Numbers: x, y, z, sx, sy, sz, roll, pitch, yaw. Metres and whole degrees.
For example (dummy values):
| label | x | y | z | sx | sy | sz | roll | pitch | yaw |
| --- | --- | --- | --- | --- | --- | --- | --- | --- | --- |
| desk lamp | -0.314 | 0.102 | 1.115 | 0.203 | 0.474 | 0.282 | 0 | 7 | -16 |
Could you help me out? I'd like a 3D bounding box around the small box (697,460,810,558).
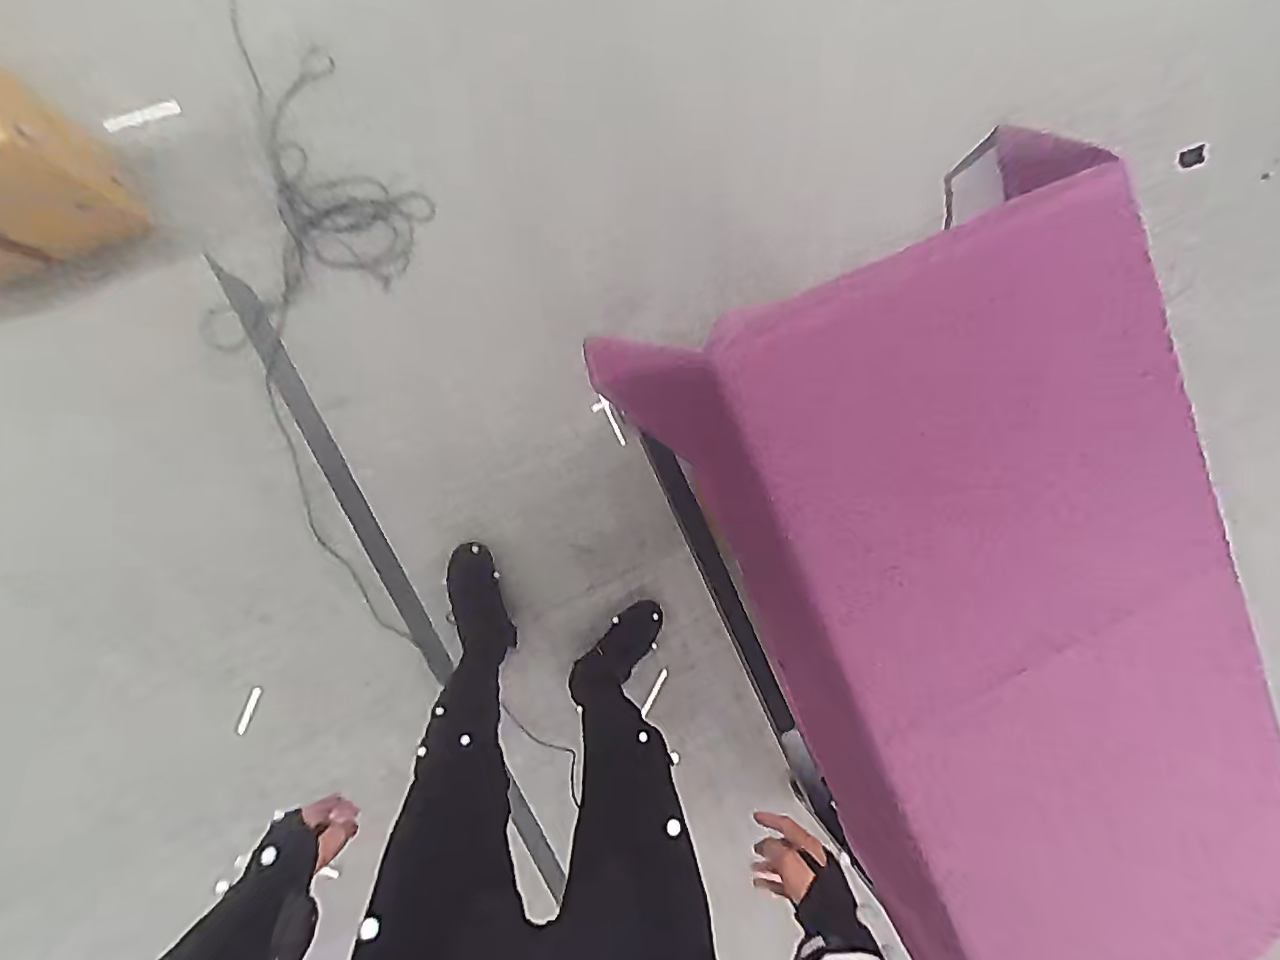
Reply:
| label | x | y | z | sx | sy | sz | roll | pitch | yaw |
| --- | --- | --- | --- | --- | --- | --- | --- | --- | --- |
| small box | 0.262 | 0.060 | 1.286 | 0.179 | 0.176 | 0.168 | -29 | 98 | -9 |
